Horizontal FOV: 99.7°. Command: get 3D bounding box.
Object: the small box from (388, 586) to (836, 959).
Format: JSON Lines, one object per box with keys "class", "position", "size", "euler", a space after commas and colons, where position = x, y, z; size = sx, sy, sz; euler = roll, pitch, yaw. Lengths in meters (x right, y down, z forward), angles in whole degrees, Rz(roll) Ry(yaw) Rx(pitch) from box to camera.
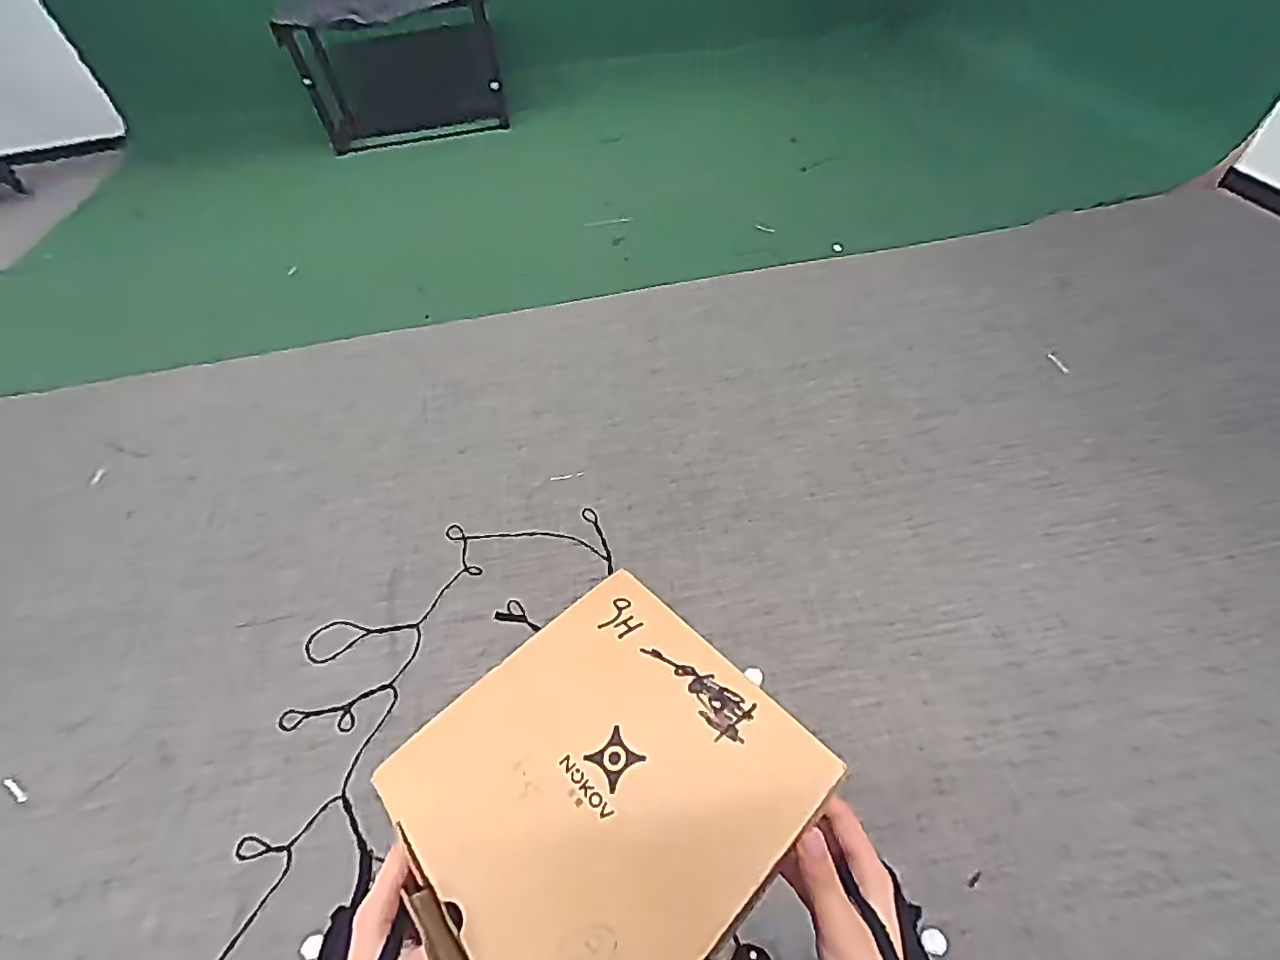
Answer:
{"class": "small box", "position": [-0.009, 0.209, 0.332], "size": [0.179, 0.176, 0.168], "euler": [-37, 53, -24]}
